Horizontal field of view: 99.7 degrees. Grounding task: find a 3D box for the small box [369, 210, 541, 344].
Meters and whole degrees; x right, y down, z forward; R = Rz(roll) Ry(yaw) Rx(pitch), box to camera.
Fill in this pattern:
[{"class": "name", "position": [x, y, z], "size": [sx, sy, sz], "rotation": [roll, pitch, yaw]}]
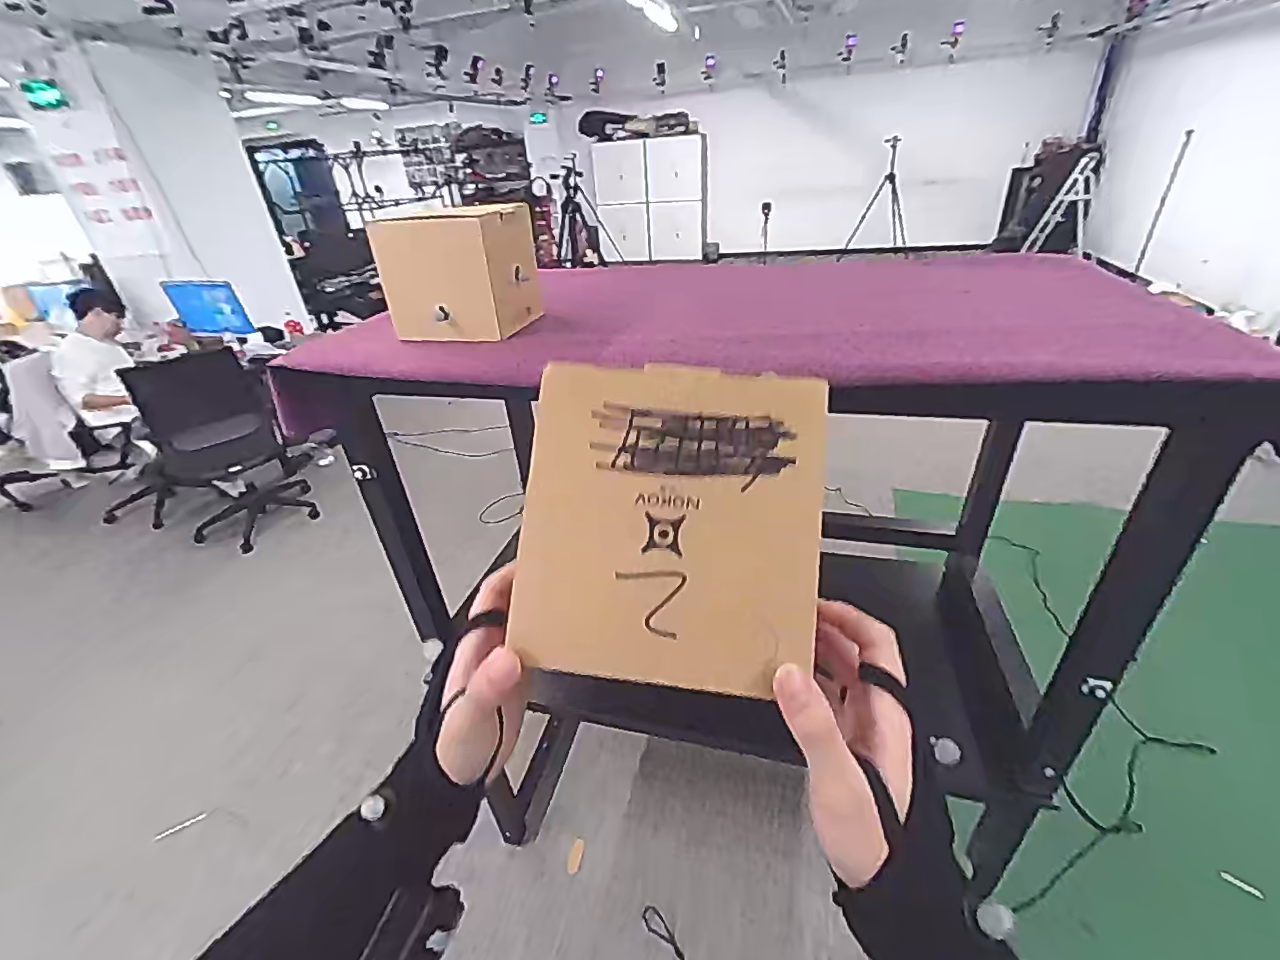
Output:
[{"class": "small box", "position": [-0.265, -0.310, 0.827], "size": [0.179, 0.176, 0.168], "rotation": [4, 30, 13]}]
